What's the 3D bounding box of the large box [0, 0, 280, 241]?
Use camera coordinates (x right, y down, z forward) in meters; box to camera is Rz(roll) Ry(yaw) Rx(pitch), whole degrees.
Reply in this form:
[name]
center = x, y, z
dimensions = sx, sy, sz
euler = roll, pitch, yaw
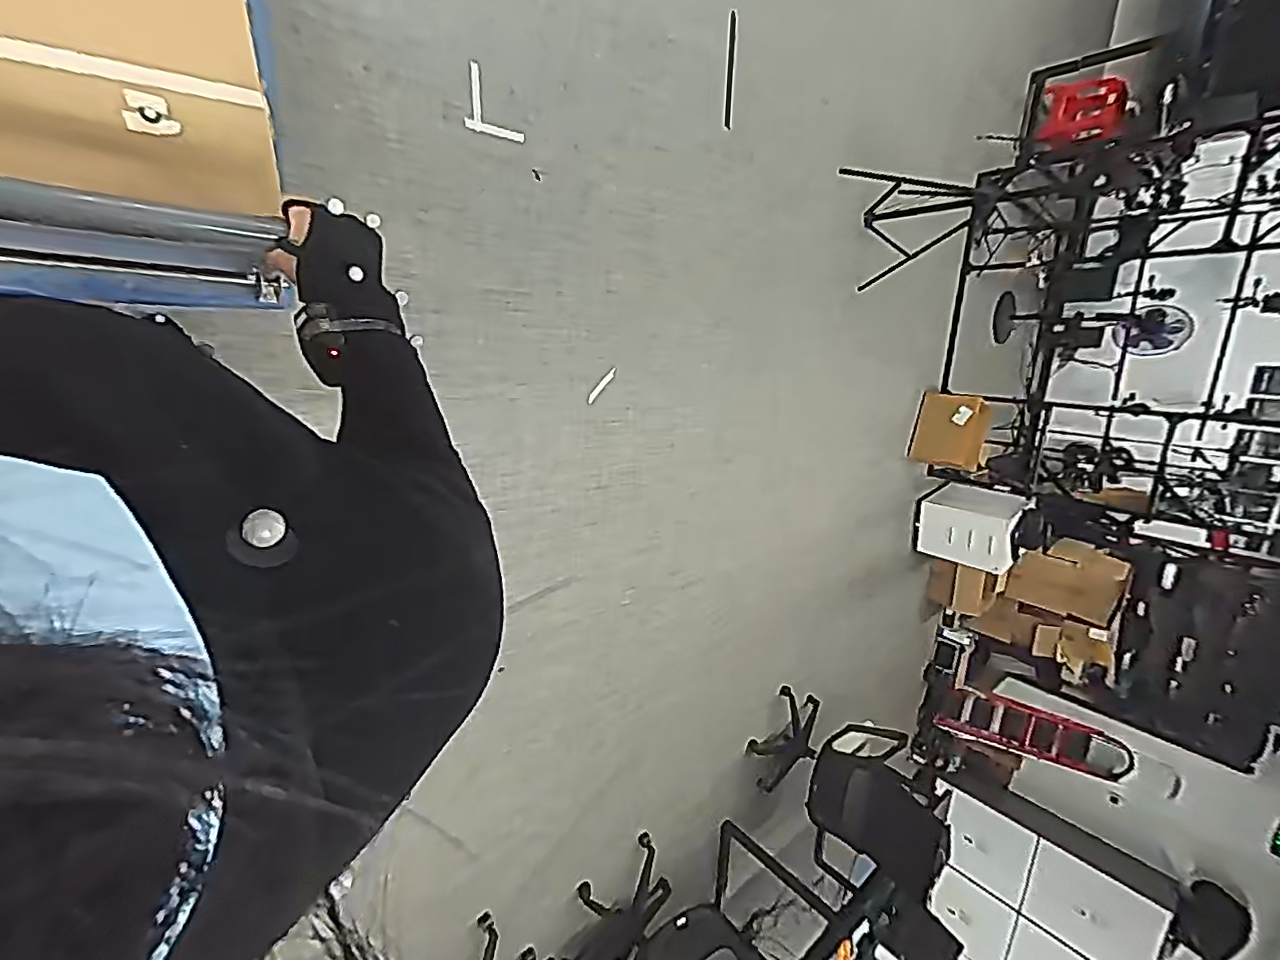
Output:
[large box]
center = -0.808, -0.539, 0.774
dimensions = 0.408, 0.320, 0.320
euler = -15, 112, -41
